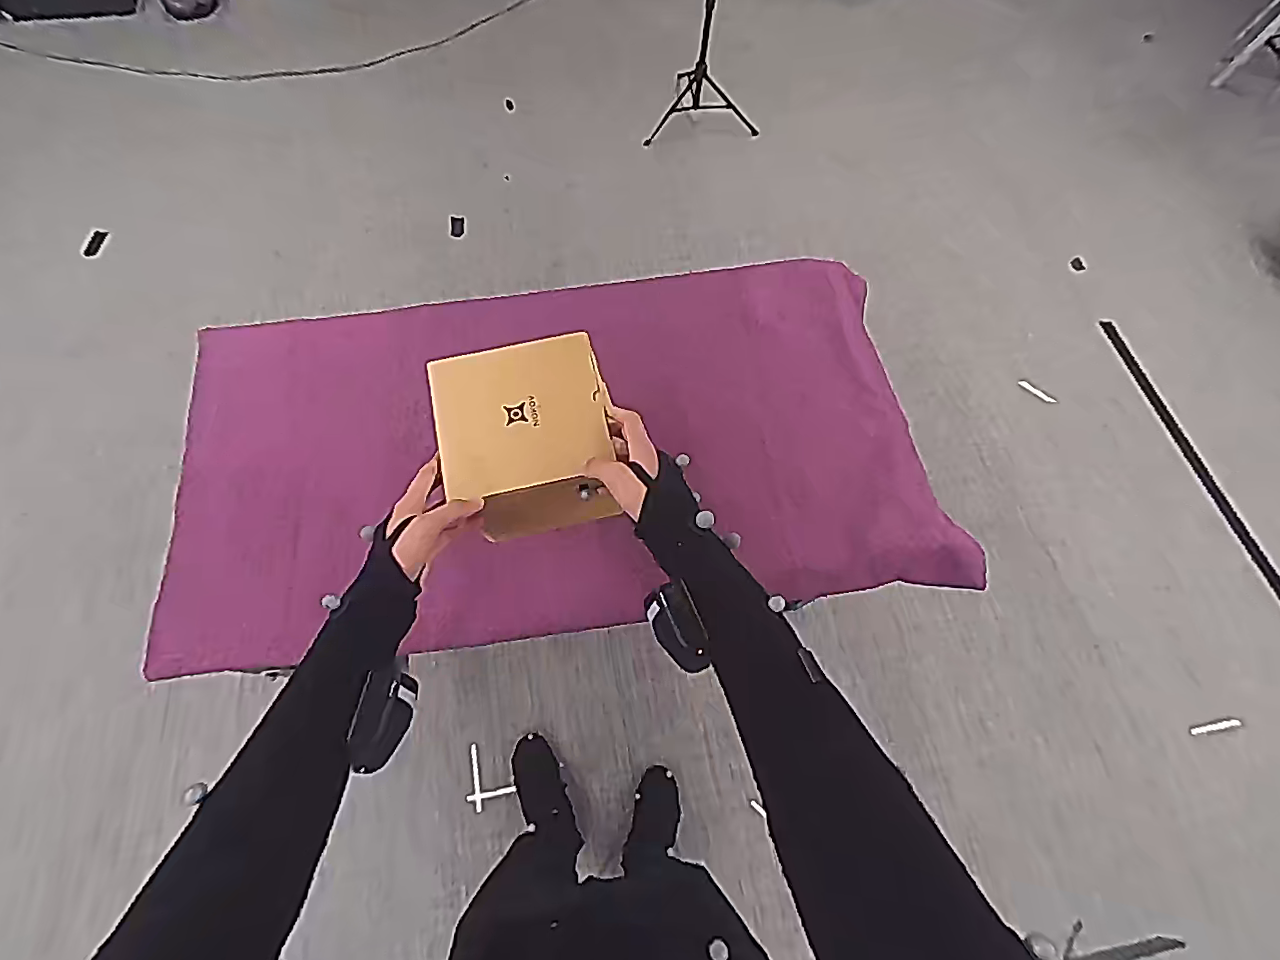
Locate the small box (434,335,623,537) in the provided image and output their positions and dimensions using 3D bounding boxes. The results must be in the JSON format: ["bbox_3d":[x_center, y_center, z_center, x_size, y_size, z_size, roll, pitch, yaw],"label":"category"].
[{"bbox_3d":[-0.121,-0.041,0.637,0.179,0.176,0.168,-12,72,-6],"label":"small box"}]
